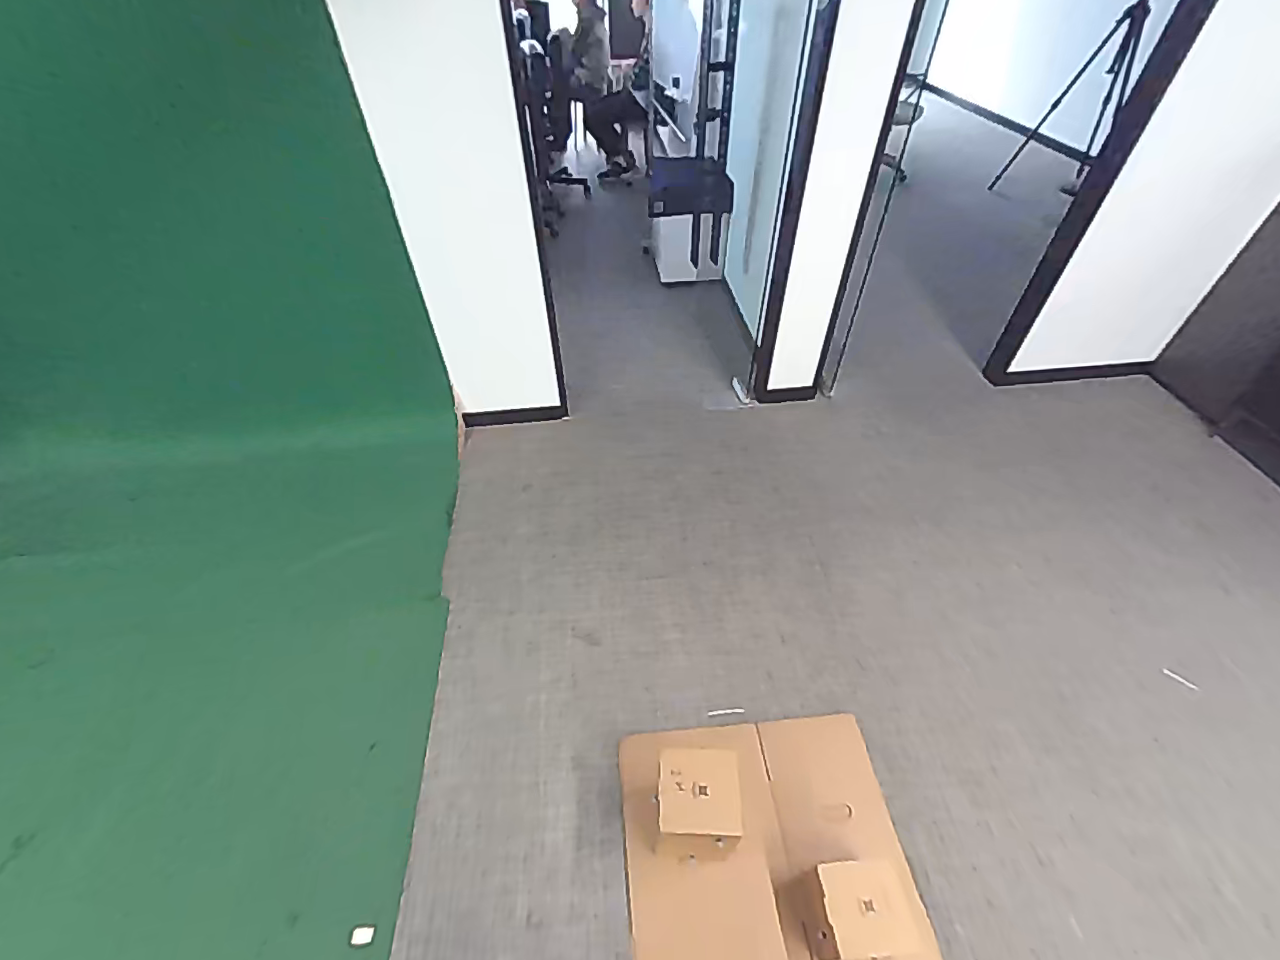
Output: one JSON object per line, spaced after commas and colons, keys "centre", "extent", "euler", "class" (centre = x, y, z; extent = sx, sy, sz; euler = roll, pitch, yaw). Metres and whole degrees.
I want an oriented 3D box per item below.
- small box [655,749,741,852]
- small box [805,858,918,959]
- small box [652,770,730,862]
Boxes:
{"centre": [0.125, 0.725, 1.220], "extent": [0.179, 0.176, 0.168], "euler": [1, 46, 2], "class": "small box"}
{"centre": [0.482, 0.969, 1.214], "extent": [0.179, 0.176, 0.168], "euler": [-4, 47, -2], "class": "small box"}
{"centre": [0.123, 0.835, 1.344], "extent": [0.179, 0.176, 0.168], "euler": [2, 46, 2], "class": "small box"}
